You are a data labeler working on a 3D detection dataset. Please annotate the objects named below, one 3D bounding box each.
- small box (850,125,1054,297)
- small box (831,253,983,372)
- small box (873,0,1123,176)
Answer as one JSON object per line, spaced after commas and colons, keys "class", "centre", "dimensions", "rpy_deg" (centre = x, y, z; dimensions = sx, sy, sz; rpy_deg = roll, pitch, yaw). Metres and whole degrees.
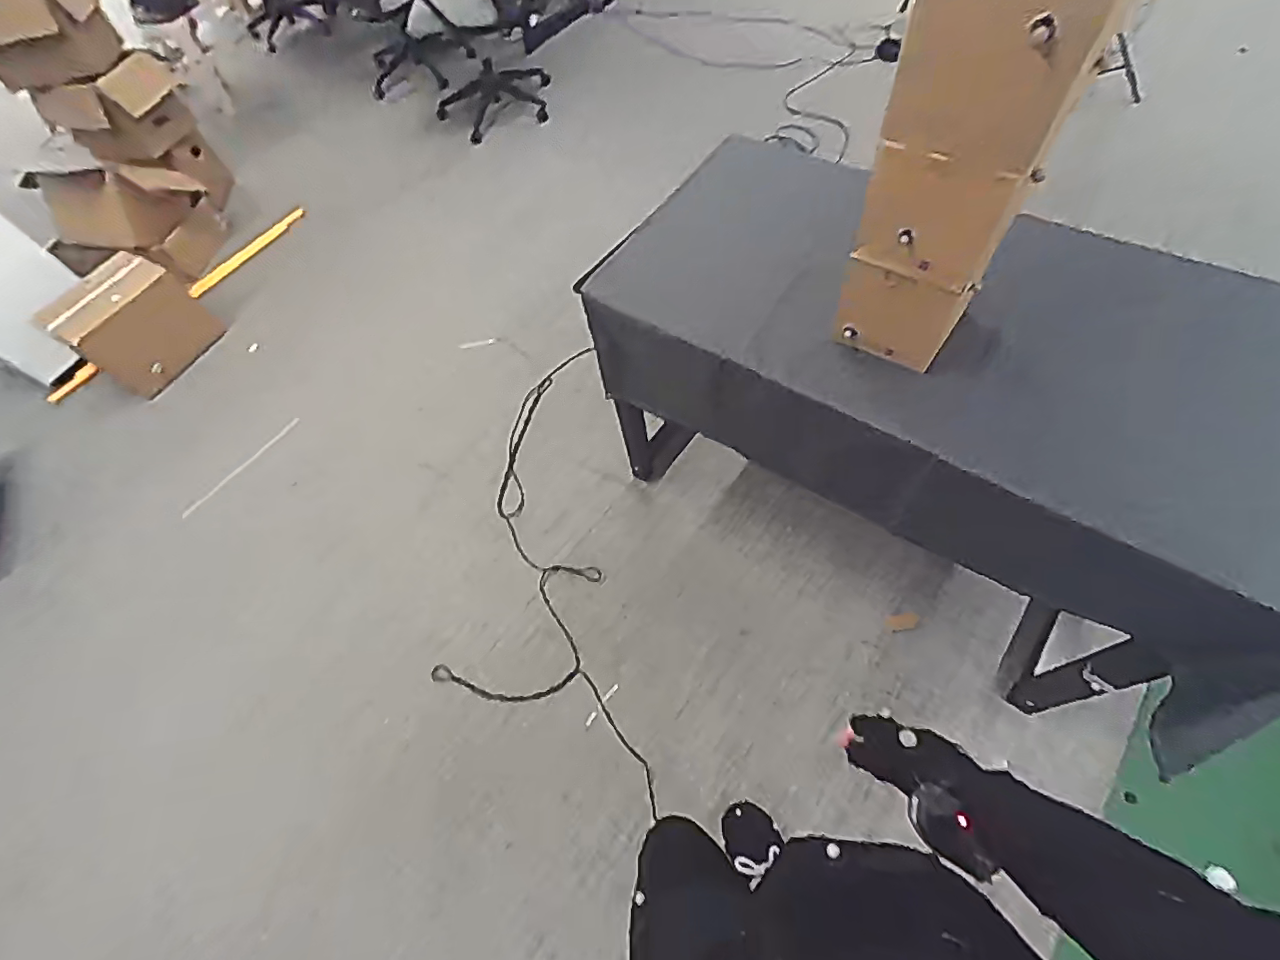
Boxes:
{"class": "small box", "centre": [0.409, -0.388, 0.735], "dimensions": [0.168, 0.176, 0.179], "rpy_deg": [31, 68, 23]}
{"class": "small box", "centre": [0.427, -0.307, 0.874], "dimensions": [0.168, 0.176, 0.179], "rpy_deg": [30, 67, 23]}
{"class": "small box", "centre": [0.389, -0.468, 0.592], "dimensions": [0.179, 0.176, 0.168], "rpy_deg": [32, 68, 23]}
